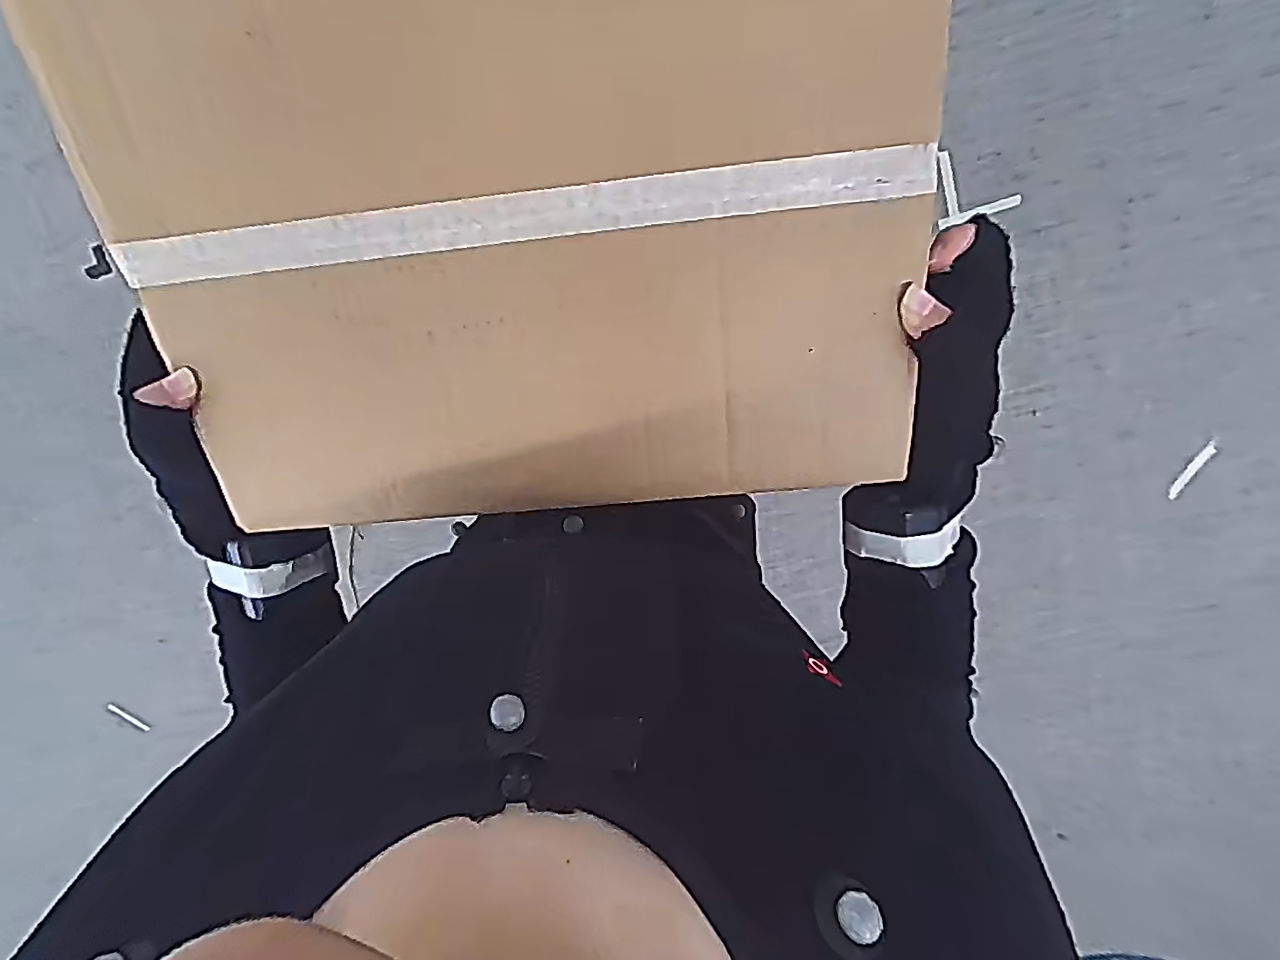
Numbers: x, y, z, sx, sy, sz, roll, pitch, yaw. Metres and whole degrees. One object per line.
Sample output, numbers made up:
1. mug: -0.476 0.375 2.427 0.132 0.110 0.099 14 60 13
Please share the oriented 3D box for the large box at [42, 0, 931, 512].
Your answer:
1. large box: -0.061 -0.195 0.410 0.408 0.320 0.320 -5 114 4
